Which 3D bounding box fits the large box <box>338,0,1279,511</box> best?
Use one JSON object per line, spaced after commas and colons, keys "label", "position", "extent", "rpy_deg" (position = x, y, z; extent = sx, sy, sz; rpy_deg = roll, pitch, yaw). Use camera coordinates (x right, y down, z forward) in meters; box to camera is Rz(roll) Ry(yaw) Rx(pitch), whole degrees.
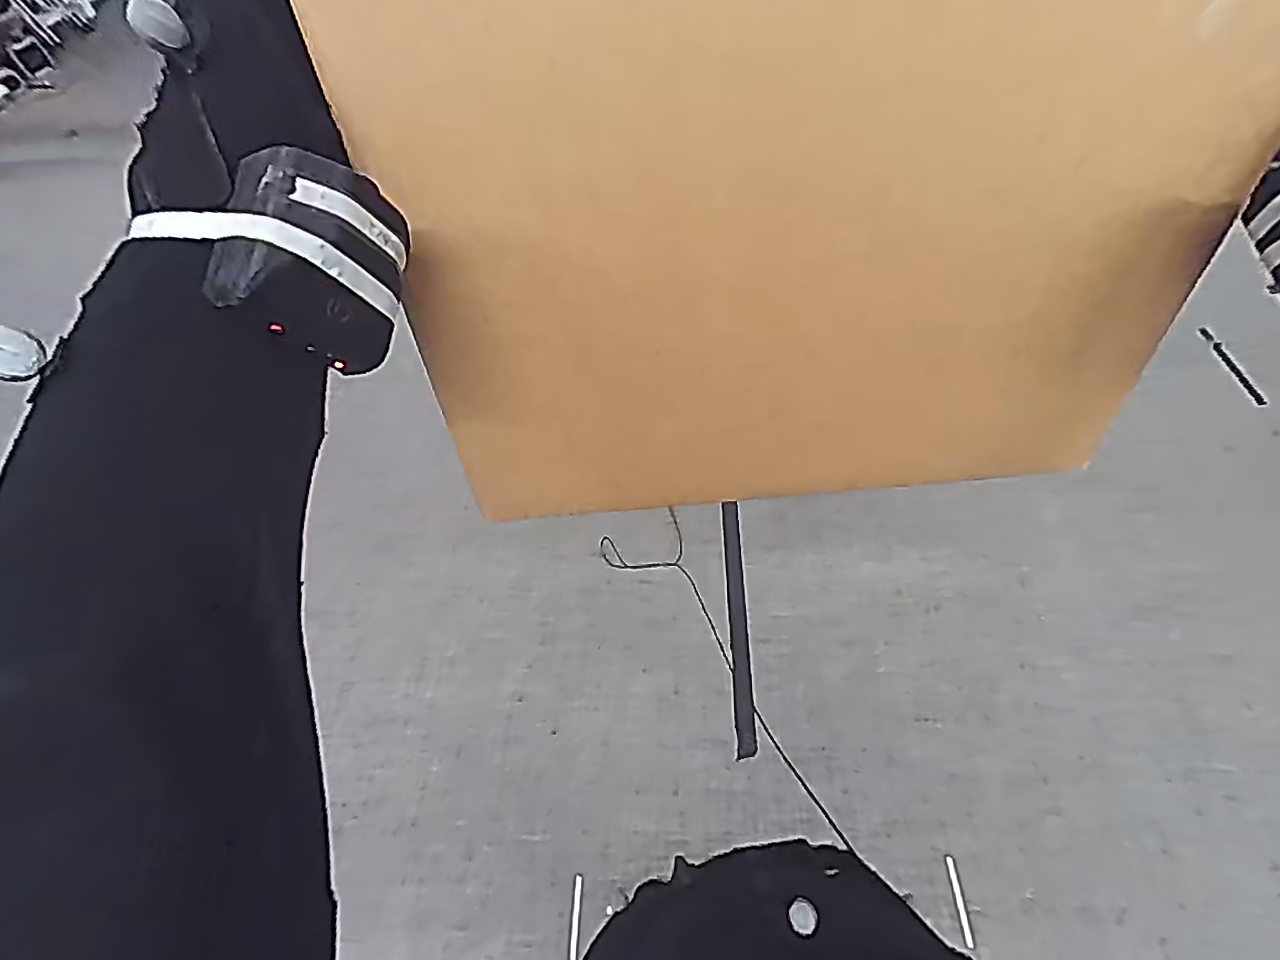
{"label": "large box", "position": [0.076, -0.204, 0.388], "extent": [0.408, 0.320, 0.320], "rpy_deg": [-5, 41, -1]}
